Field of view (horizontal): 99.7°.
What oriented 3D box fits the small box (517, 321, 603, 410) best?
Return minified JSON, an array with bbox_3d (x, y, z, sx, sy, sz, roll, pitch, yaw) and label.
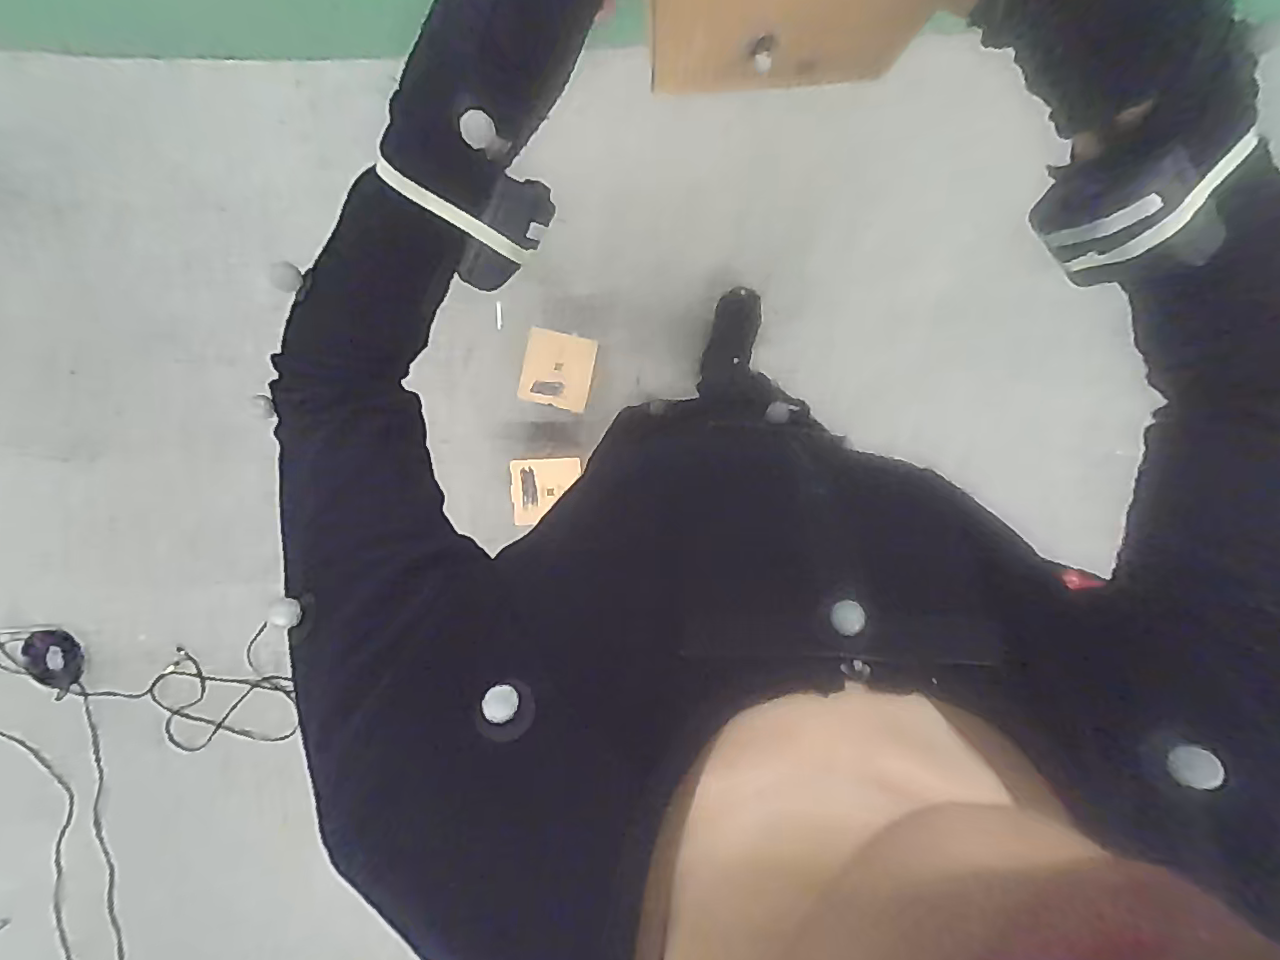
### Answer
[{"bbox_3d":[-0.192,-0.279,1.343,0.168,0.176,0.179,13,99,-2],"label":"small box"}]
